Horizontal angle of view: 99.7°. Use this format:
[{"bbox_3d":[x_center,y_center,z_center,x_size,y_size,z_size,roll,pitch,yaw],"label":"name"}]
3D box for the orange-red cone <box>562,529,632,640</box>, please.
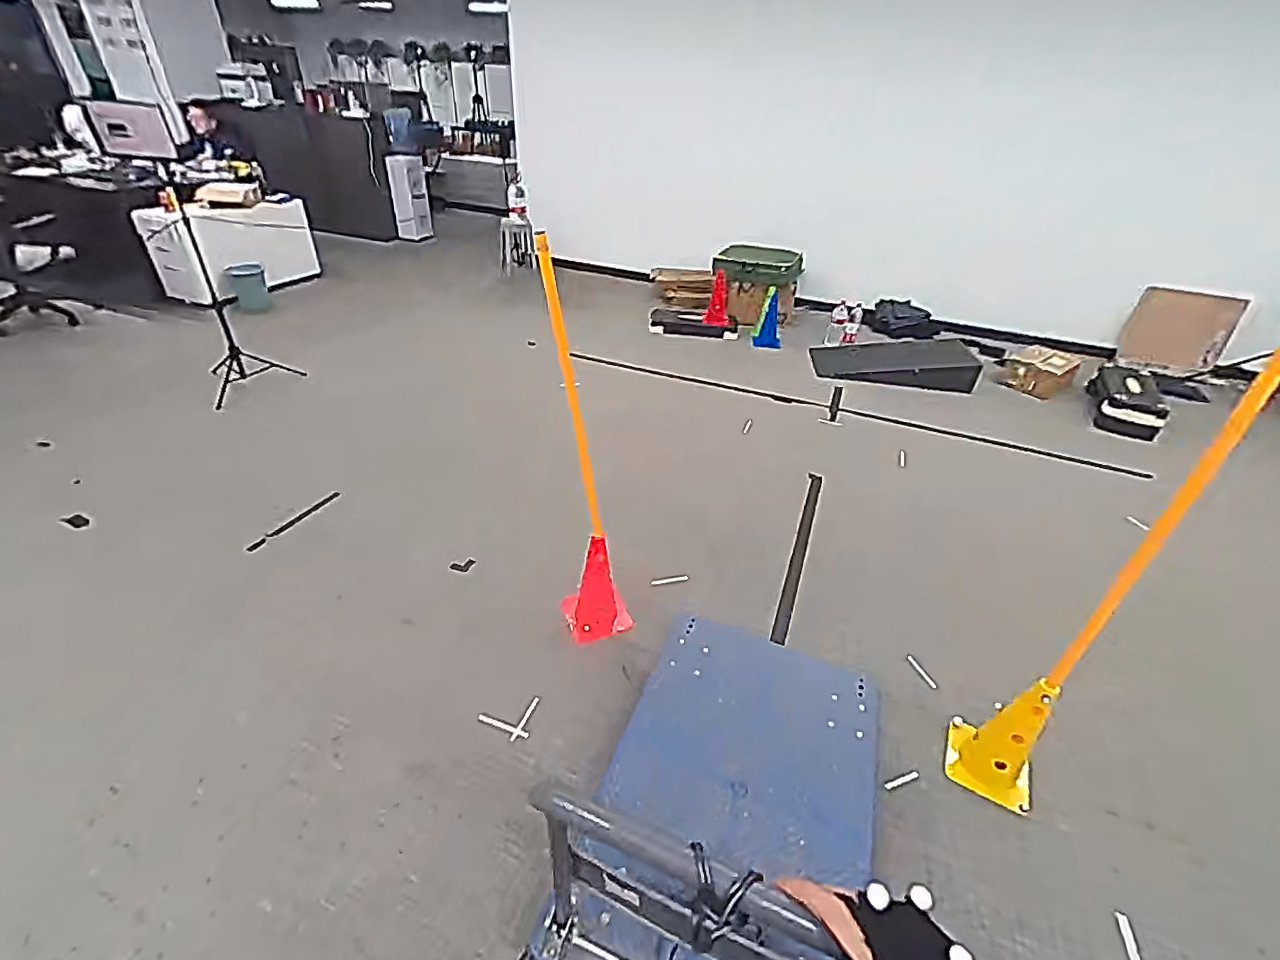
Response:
[{"bbox_3d":[-0.133,0.301,1.710,0.199,0.360,0.198,-10,38,-22],"label":"orange-red cone"}]
